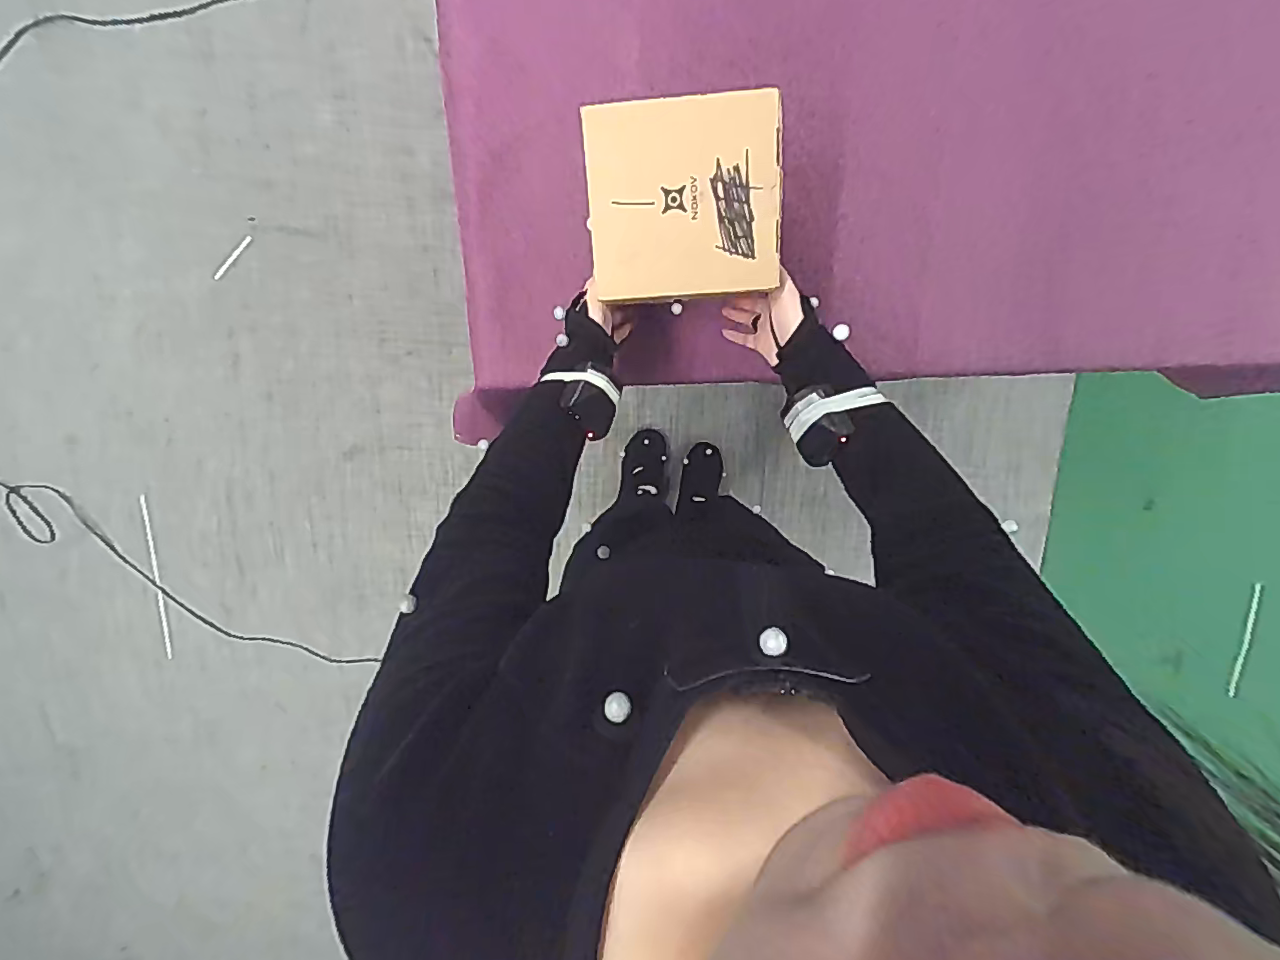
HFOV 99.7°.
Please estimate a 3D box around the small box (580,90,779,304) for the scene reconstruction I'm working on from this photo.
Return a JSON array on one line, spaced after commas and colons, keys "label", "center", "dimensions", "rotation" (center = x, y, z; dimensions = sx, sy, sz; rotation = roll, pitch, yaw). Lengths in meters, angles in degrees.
[{"label": "small box", "center": [0.042, -0.277, 0.567], "dimensions": [0.179, 0.176, 0.168], "rotation": [-3, 106, 5]}]
